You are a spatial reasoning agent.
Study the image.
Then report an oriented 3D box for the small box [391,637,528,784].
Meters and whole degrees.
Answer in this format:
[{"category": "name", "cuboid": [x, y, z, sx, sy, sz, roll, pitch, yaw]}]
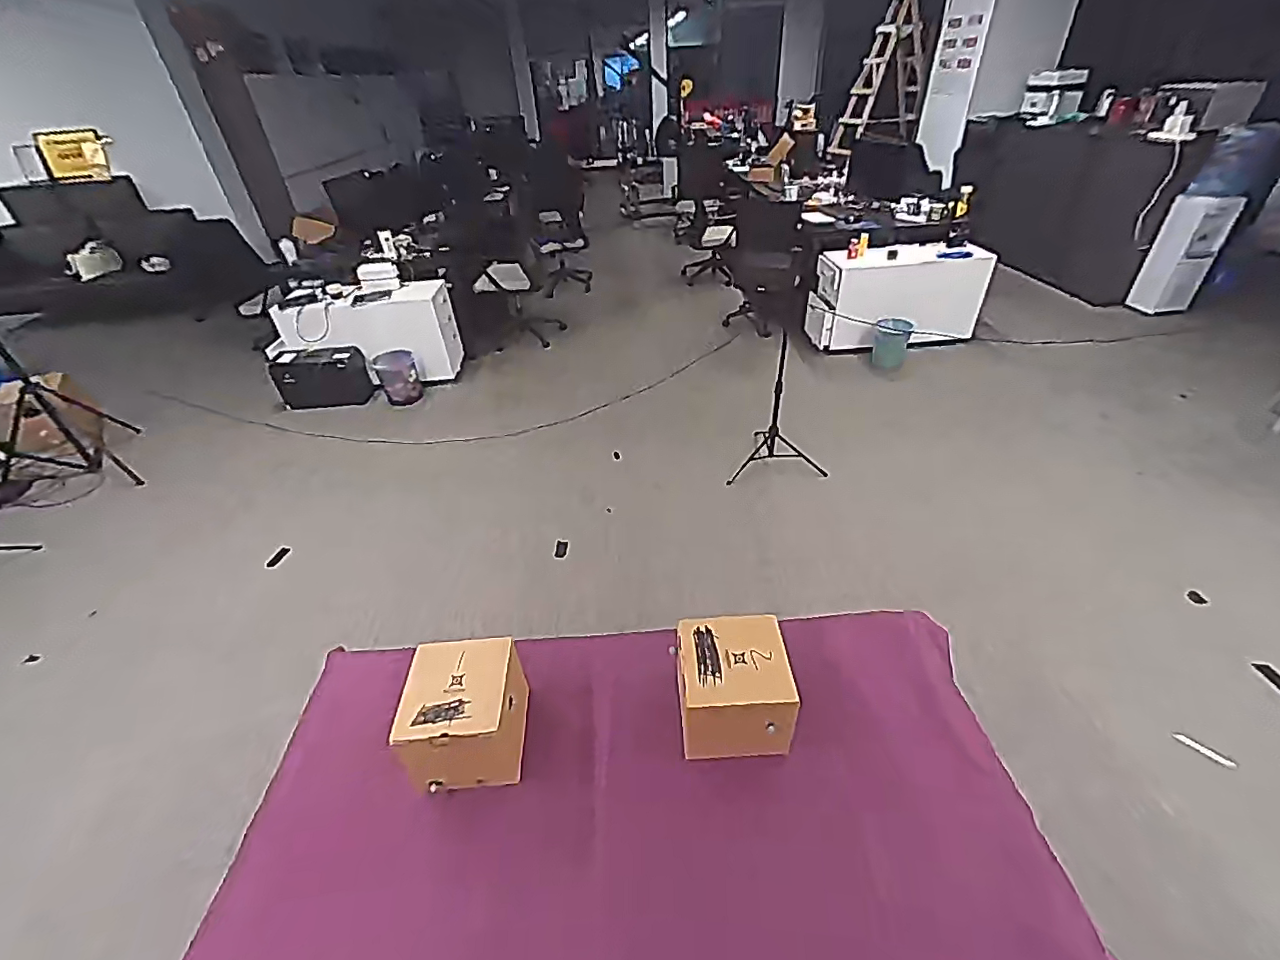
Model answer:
[{"category": "small box", "cuboid": [-0.293, 0.396, 0.921, 0.168, 0.176, 0.179, -4, 37, -1]}]
